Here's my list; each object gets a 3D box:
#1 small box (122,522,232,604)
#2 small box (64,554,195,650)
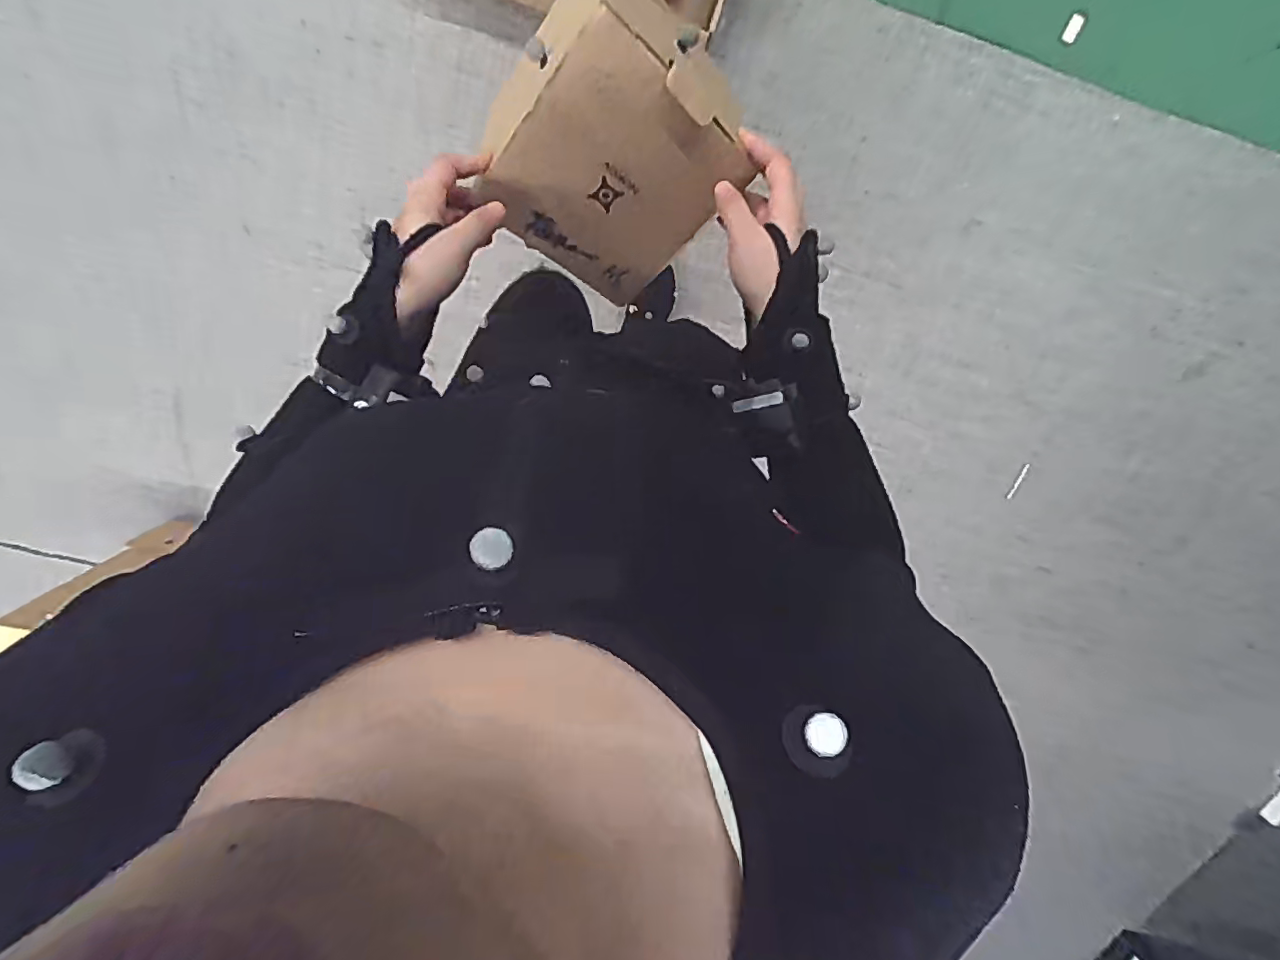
[{"bbox_3d":[-1.314,0.234,1.554,0.179,0.176,0.168,8,111,-2],"label":"small box"},{"bbox_3d":[-1.317,0.311,1.408,0.179,0.176,0.168,11,112,-4],"label":"small box"}]
